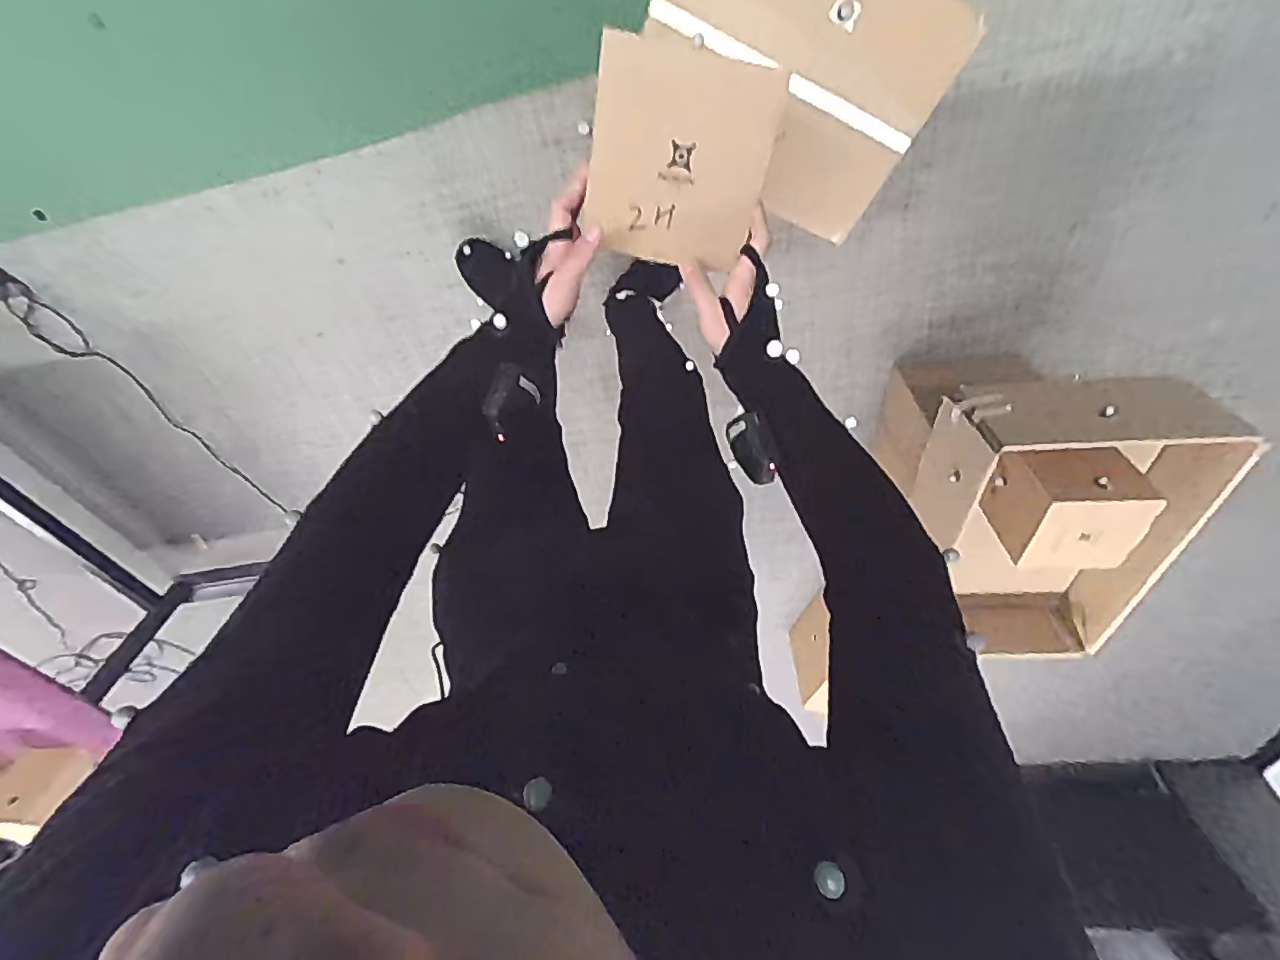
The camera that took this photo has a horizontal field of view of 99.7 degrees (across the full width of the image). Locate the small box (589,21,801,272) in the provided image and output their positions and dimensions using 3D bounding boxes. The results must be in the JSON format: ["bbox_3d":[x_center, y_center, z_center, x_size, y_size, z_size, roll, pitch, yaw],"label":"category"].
[{"bbox_3d":[0.040,-0.339,0.555,0.168,0.176,0.179,6,128,-7],"label":"small box"}]

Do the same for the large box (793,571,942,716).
[{"bbox_3d":[0.779,0.587,1.929,0.320,0.320,0.408,9,131,-6],"label":"large box"}]

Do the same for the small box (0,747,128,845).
[{"bbox_3d":[-1.425,0.771,1.323,0.179,0.176,0.168,-8,130,11],"label":"small box"}]
